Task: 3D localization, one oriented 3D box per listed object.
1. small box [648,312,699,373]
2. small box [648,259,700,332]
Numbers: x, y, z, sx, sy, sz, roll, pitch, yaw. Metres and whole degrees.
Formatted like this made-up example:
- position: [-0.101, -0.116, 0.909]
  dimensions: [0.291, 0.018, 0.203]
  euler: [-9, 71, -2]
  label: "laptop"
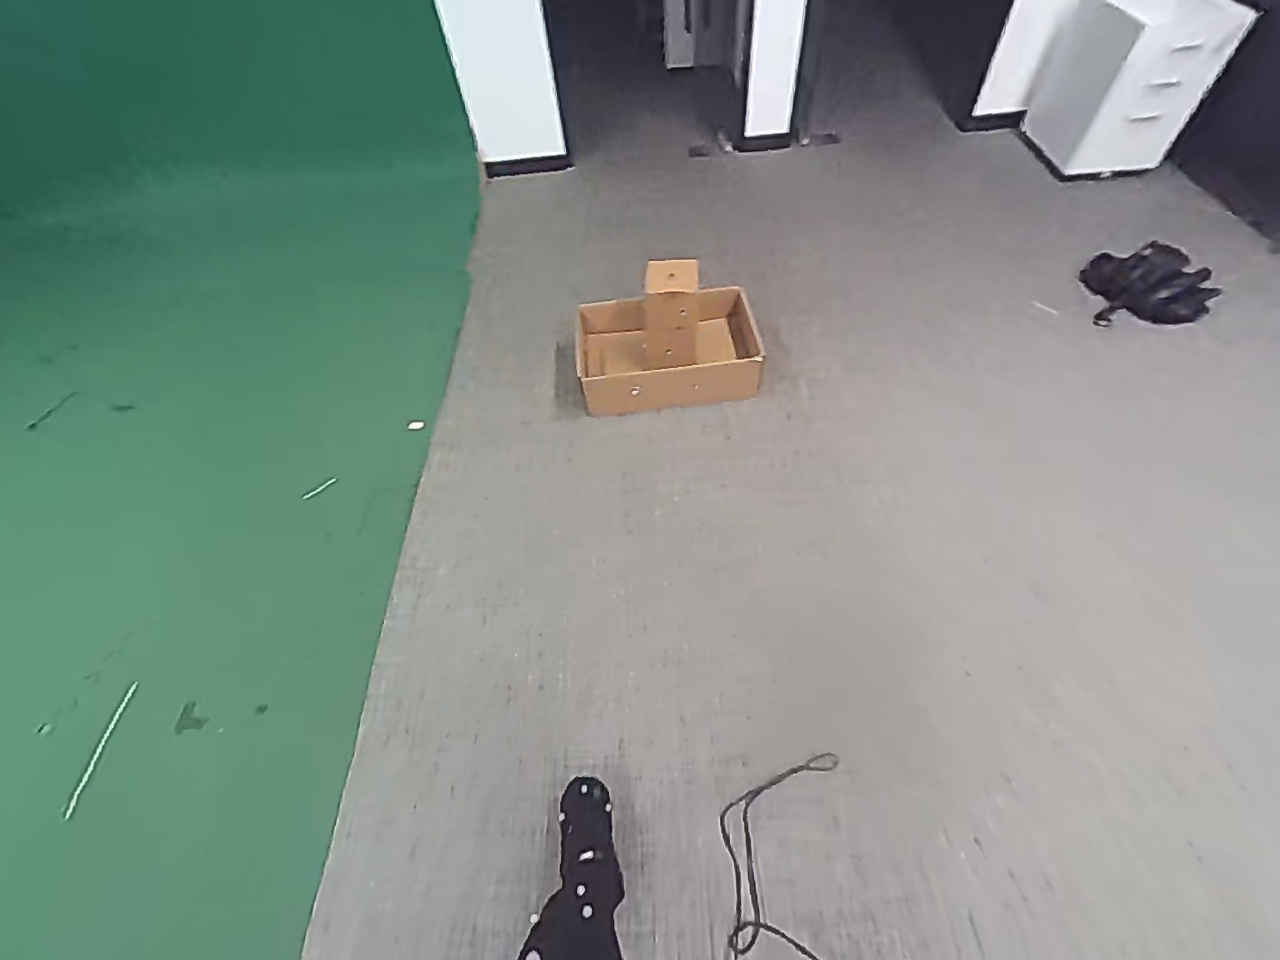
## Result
- position: [0.123, -0.502, 1.938]
  dimensions: [0.179, 0.176, 0.168]
  euler: [-3, 54, 6]
  label: "small box"
- position: [0.116, -0.609, 1.796]
  dimensions: [0.168, 0.176, 0.179]
  euler: [0, 53, 5]
  label: "small box"
